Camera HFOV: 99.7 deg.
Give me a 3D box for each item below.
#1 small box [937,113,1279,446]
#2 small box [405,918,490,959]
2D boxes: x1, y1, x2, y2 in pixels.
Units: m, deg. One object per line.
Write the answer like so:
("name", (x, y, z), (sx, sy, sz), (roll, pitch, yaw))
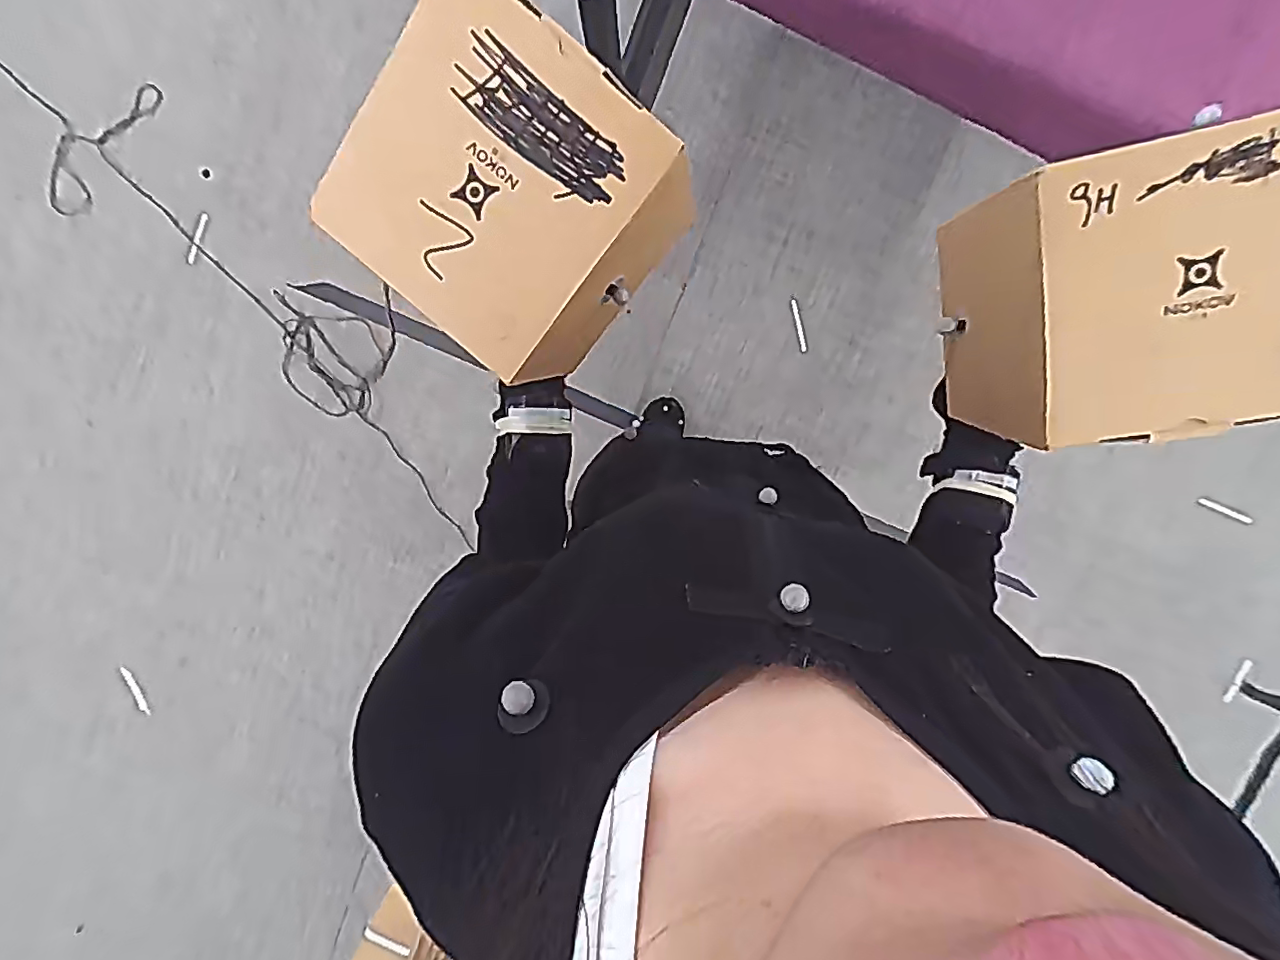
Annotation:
("small box", (0.341, -0.137, 0.402), (0.168, 0.176, 0.179), (-9, 104, 11))
("small box", (-0.478, 1.188, 1.263), (0.179, 0.176, 0.168), (30, 96, -2))
